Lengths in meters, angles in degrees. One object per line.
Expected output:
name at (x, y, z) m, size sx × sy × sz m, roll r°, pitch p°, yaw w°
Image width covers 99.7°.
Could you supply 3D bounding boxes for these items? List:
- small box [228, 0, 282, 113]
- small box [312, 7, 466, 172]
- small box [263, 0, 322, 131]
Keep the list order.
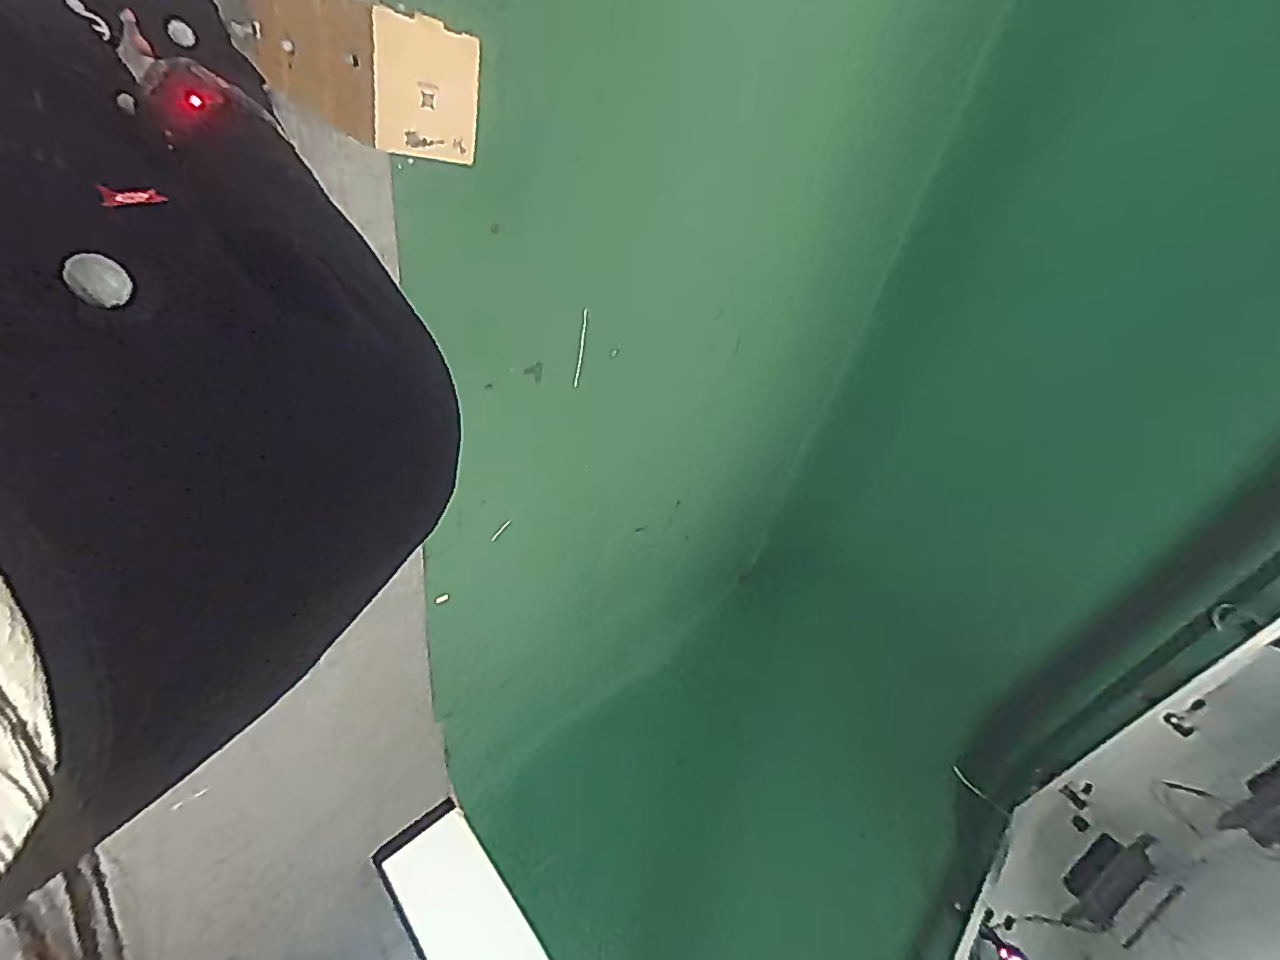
small box at (-0.630, -0.784, 1.009) m, size 0.179 × 0.176 × 0.168 m, roll -21°, pitch 137°, yaw -41°
small box at (-0.397, -0.612, 0.855) m, size 0.168 × 0.176 × 0.179 m, roll -20°, pitch 135°, yaw -44°
small box at (-0.512, -0.698, 0.931) m, size 0.179 × 0.176 × 0.168 m, roll -20°, pitch 136°, yaw -43°
